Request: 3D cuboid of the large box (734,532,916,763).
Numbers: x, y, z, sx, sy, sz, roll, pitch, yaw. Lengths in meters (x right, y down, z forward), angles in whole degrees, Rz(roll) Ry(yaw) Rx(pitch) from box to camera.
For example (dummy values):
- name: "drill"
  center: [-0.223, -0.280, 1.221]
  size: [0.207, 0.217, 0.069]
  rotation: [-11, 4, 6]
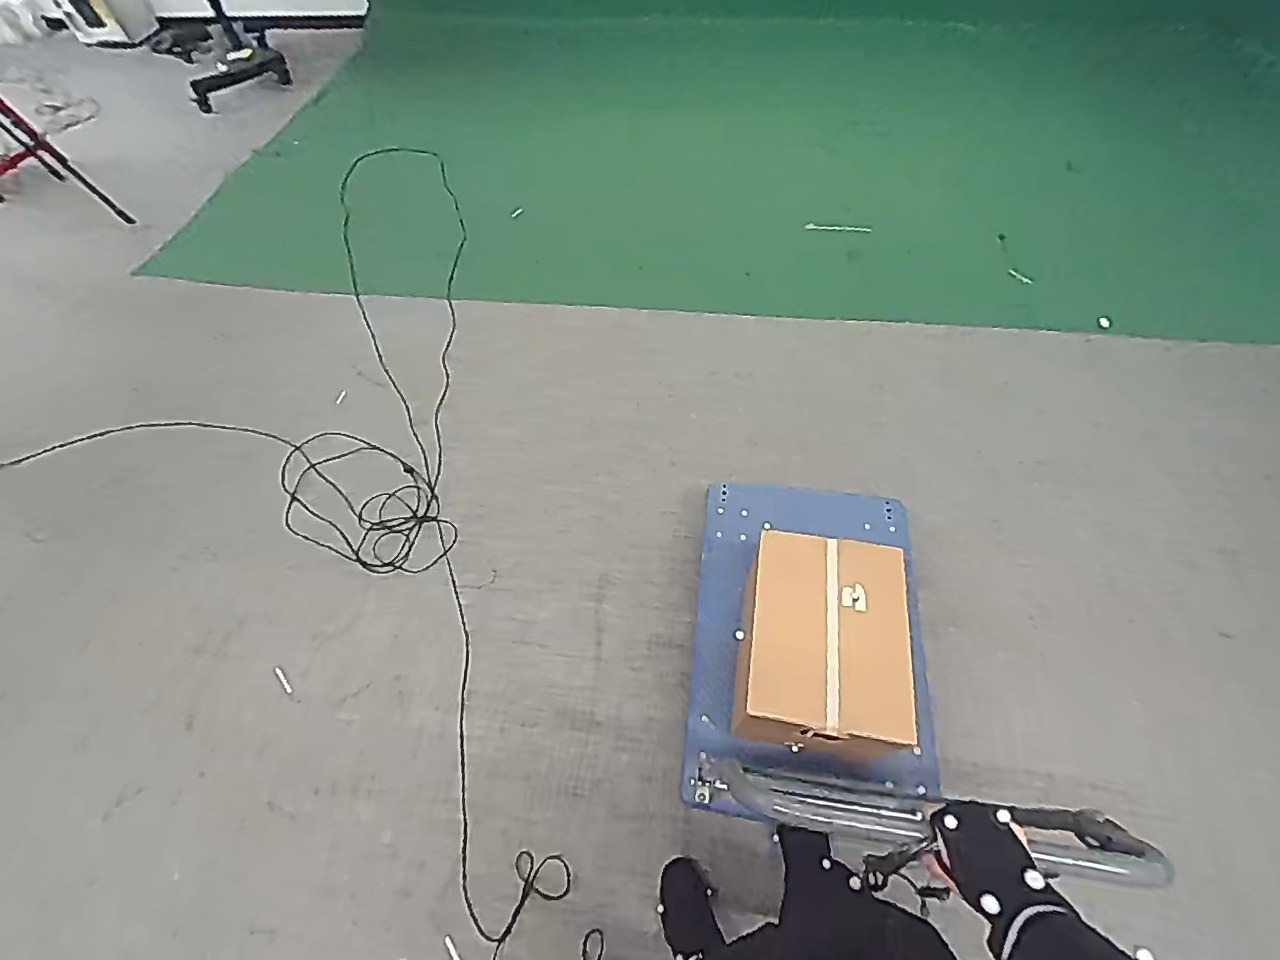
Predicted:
- name: "large box"
  center: [0.391, 0.382, 1.225]
  size: [0.320, 0.320, 0.408]
  rotation: [8, 57, 7]
